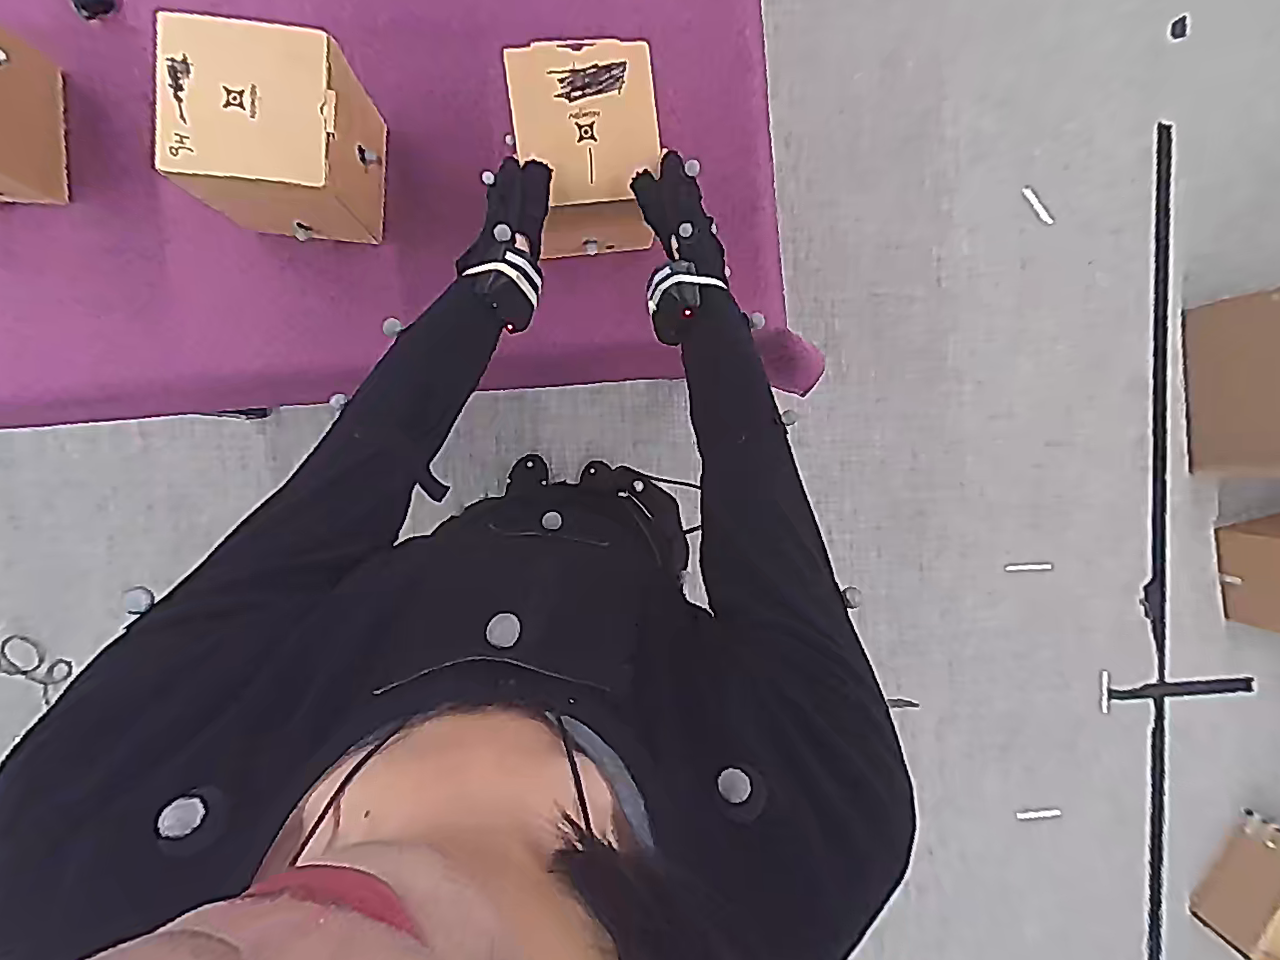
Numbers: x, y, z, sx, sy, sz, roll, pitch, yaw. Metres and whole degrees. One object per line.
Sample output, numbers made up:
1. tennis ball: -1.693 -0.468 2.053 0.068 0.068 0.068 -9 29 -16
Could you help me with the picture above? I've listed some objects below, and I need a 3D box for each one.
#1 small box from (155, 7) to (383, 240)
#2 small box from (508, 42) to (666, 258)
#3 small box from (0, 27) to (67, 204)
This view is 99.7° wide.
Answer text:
1. small box: -0.429 -0.409 0.654 0.179 0.176 0.168 3 93 -7
2. small box: -0.067 -0.406 0.690 0.168 0.176 0.179 -7 94 -5
3. small box: -0.817 -0.443 0.612 0.168 0.176 0.179 -1 94 -5
